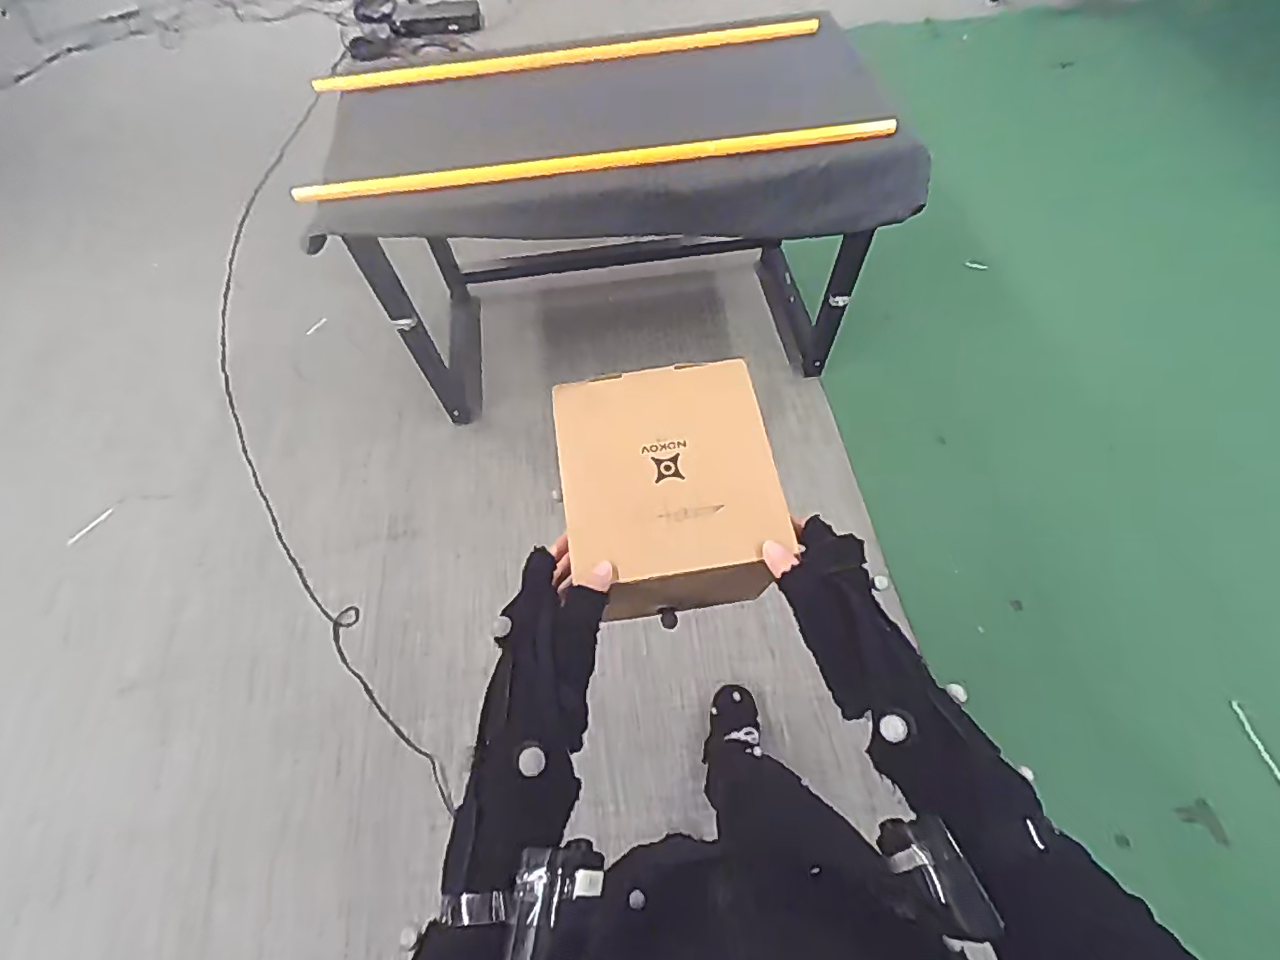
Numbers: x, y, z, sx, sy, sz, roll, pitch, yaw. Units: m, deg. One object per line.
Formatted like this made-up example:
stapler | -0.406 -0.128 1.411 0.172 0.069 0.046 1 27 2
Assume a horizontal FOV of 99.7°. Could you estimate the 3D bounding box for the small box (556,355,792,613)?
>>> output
small box | 0.020 0.013 0.498 0.168 0.176 0.179 -8 67 -2
